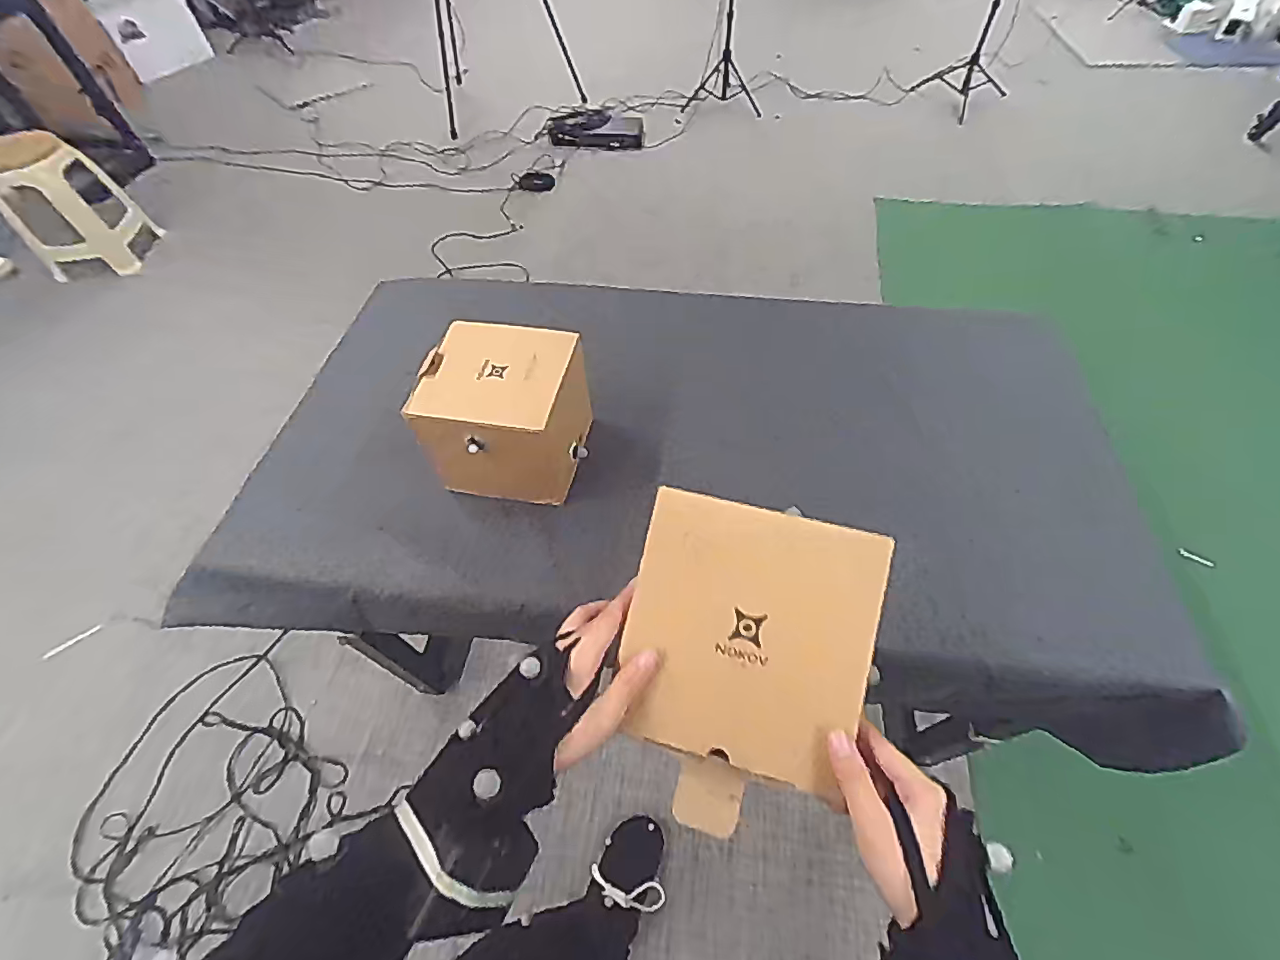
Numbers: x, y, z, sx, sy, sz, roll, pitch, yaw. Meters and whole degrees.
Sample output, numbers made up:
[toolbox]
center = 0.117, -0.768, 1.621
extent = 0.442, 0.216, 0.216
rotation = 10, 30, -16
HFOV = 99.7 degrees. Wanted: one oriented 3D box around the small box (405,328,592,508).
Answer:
[small box]
center = -0.172, -0.078, 0.723
extent = 0.179, 0.176, 0.168
rotation = 8, 56, 7
